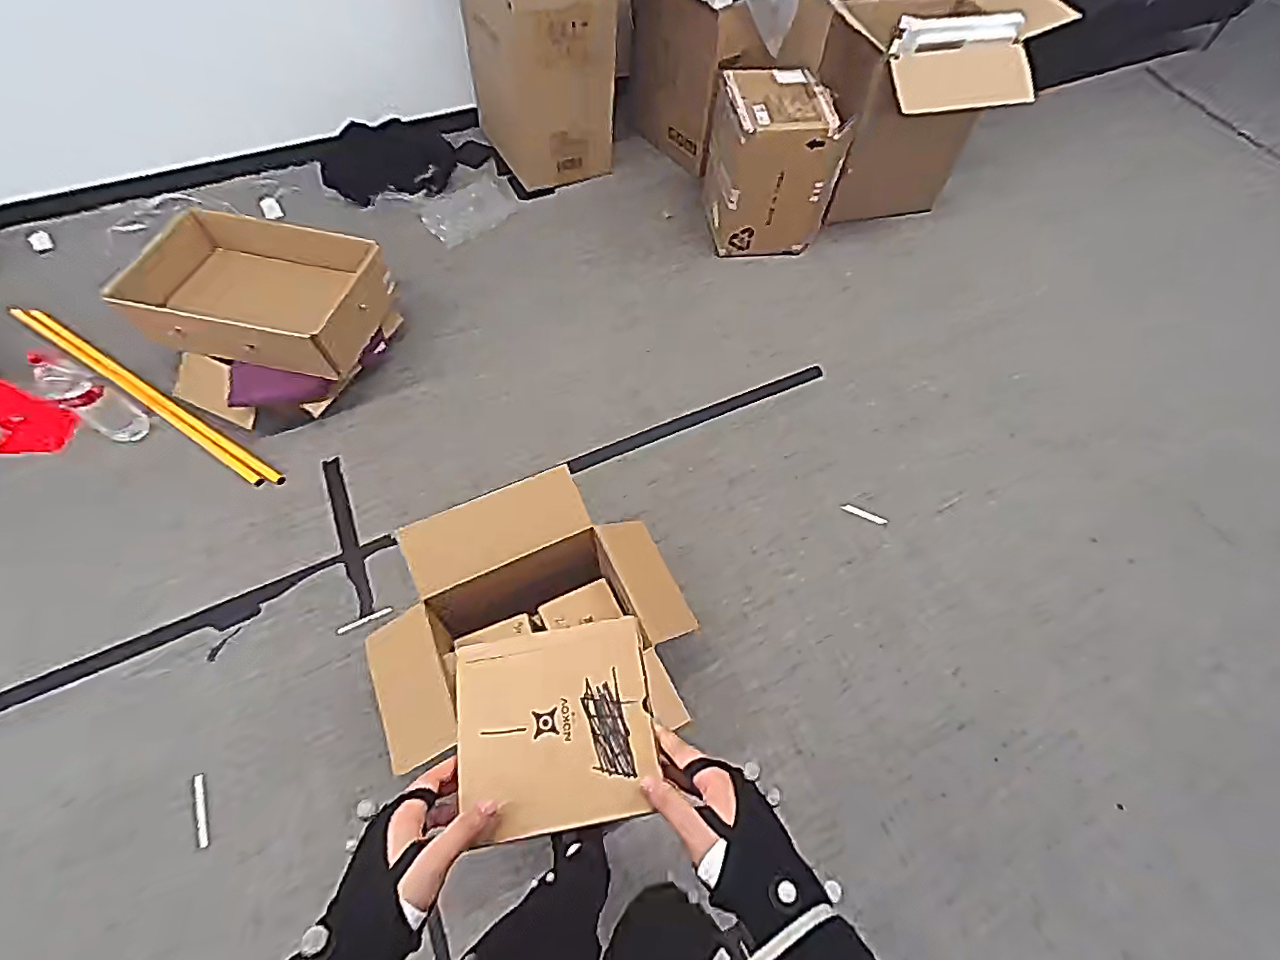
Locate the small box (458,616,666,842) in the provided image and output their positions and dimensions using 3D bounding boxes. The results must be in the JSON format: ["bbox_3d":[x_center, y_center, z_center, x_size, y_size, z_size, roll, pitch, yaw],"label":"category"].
[{"bbox_3d":[-0.074,0.251,0.556,0.179,0.176,0.168,-10,62,-2],"label":"small box"}]
